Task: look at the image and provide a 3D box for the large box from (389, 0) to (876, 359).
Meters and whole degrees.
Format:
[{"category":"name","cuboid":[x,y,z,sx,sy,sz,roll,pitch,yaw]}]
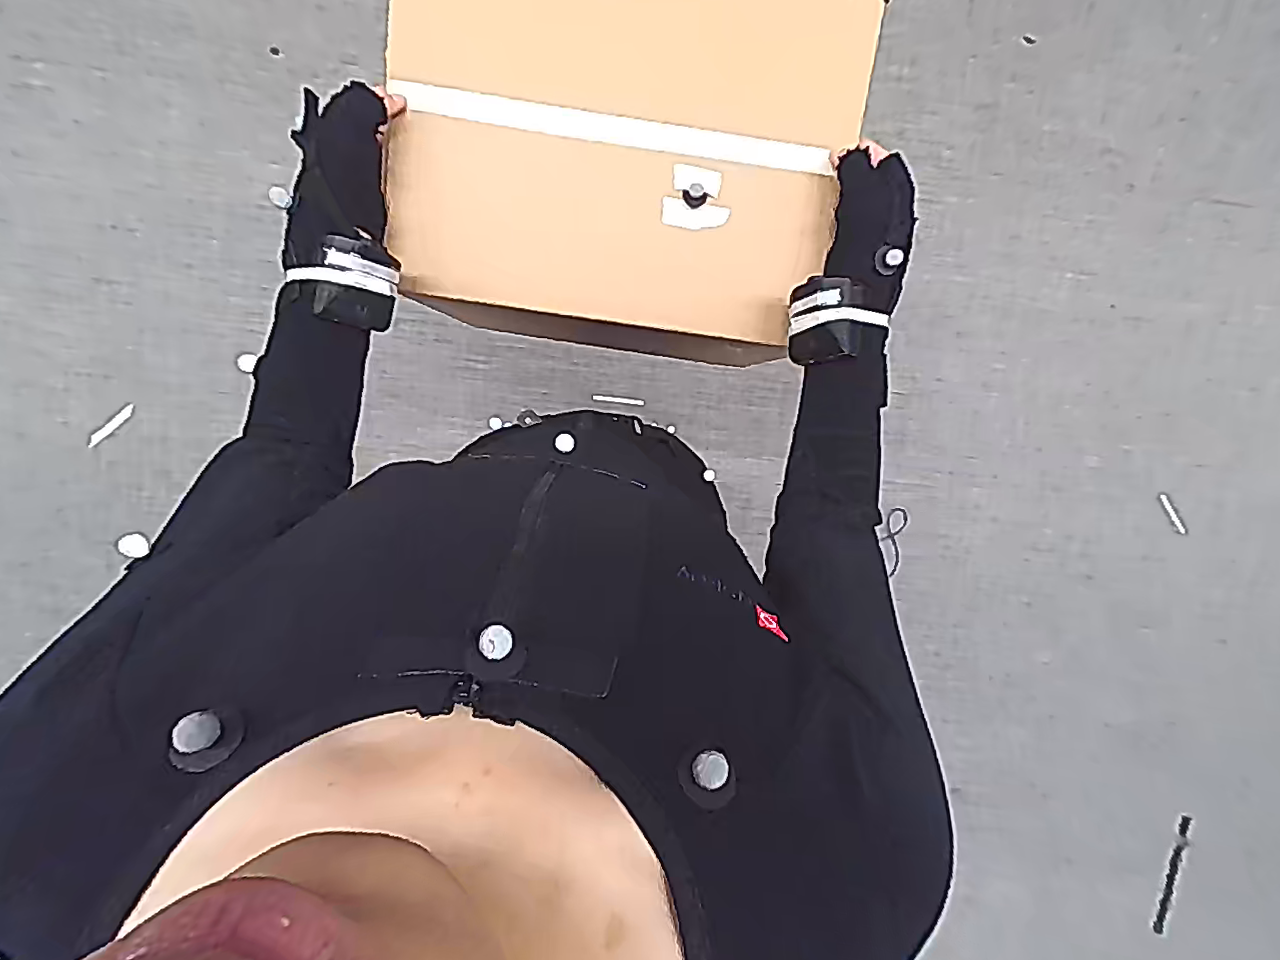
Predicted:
[{"category":"large box","cuboid":[-0.018,-0.326,0.616,0.408,0.320,0.320,7,99,-4]}]
